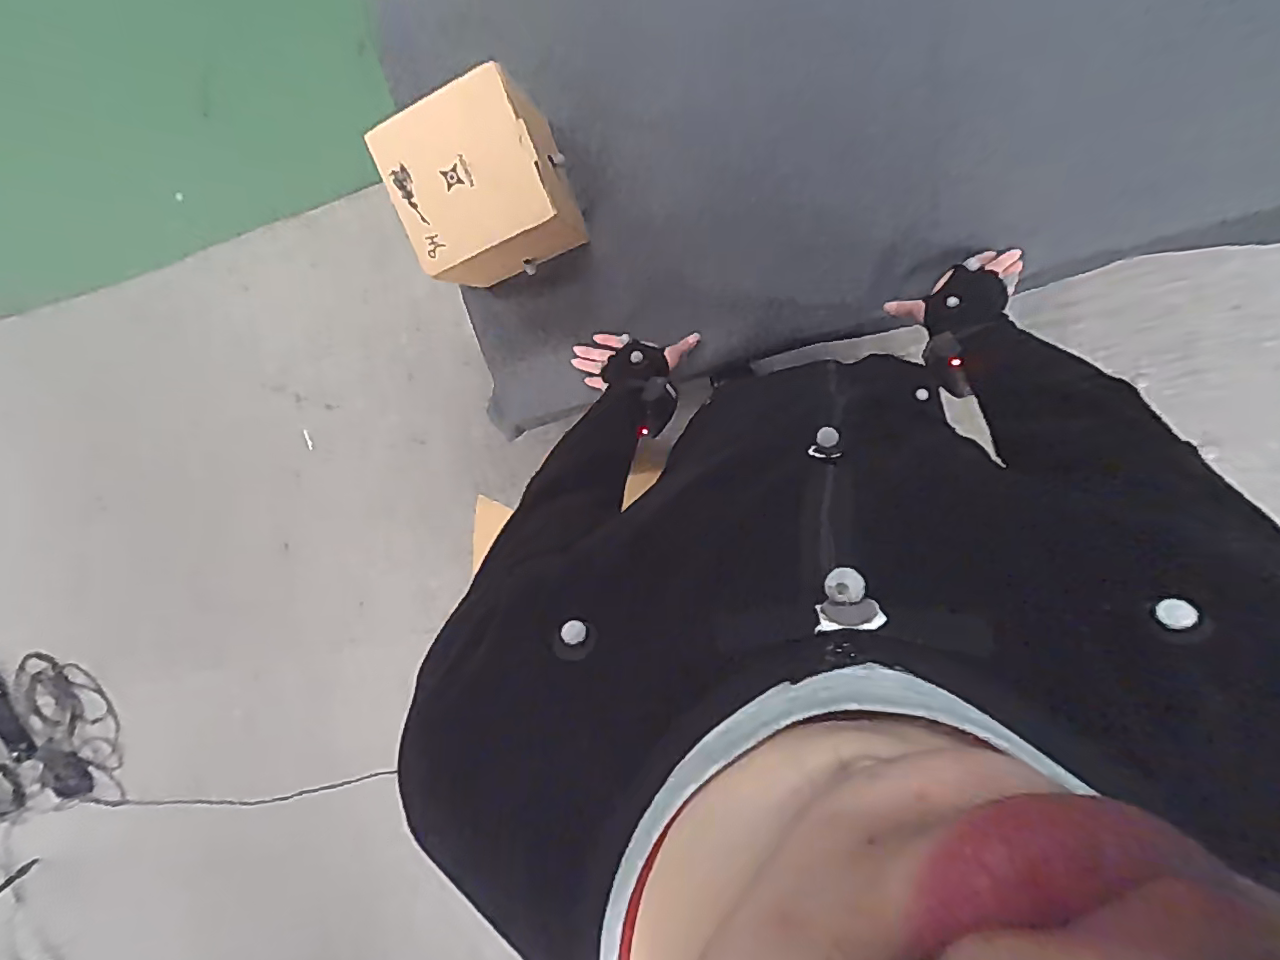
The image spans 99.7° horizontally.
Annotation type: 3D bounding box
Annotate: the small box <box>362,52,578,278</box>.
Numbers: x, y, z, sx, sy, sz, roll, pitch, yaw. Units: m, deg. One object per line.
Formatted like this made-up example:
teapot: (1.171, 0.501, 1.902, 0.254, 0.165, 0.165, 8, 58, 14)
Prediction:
small box: (-0.189, -0.366, 0.668, 0.179, 0.176, 0.168, -19, 102, 12)
